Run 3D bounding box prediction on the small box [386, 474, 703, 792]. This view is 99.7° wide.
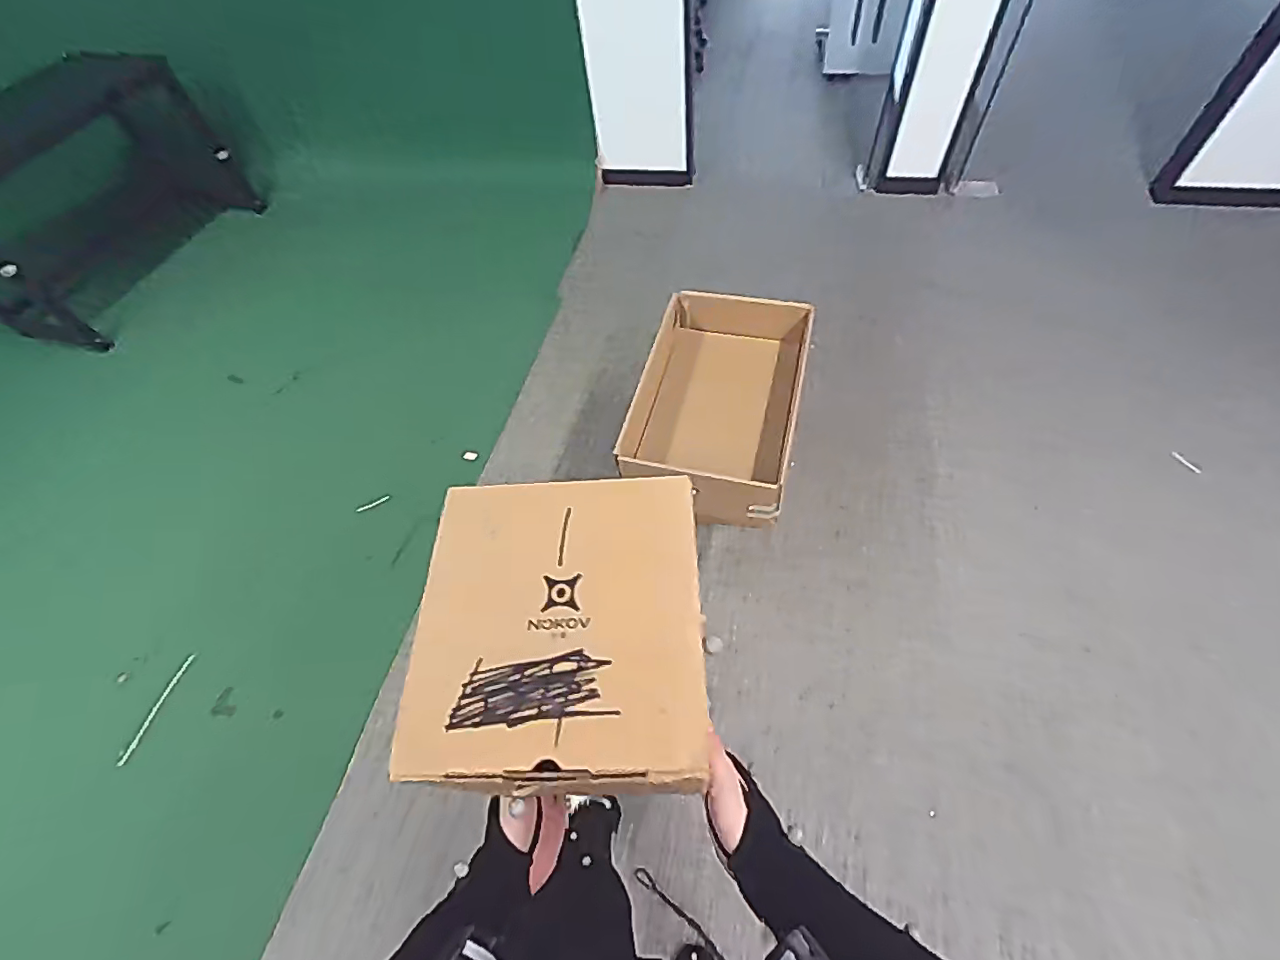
[{"bbox_3d":[-0.041,0.115,0.380,0.168,0.176,0.179,-2,57,4],"label":"small box"}]
